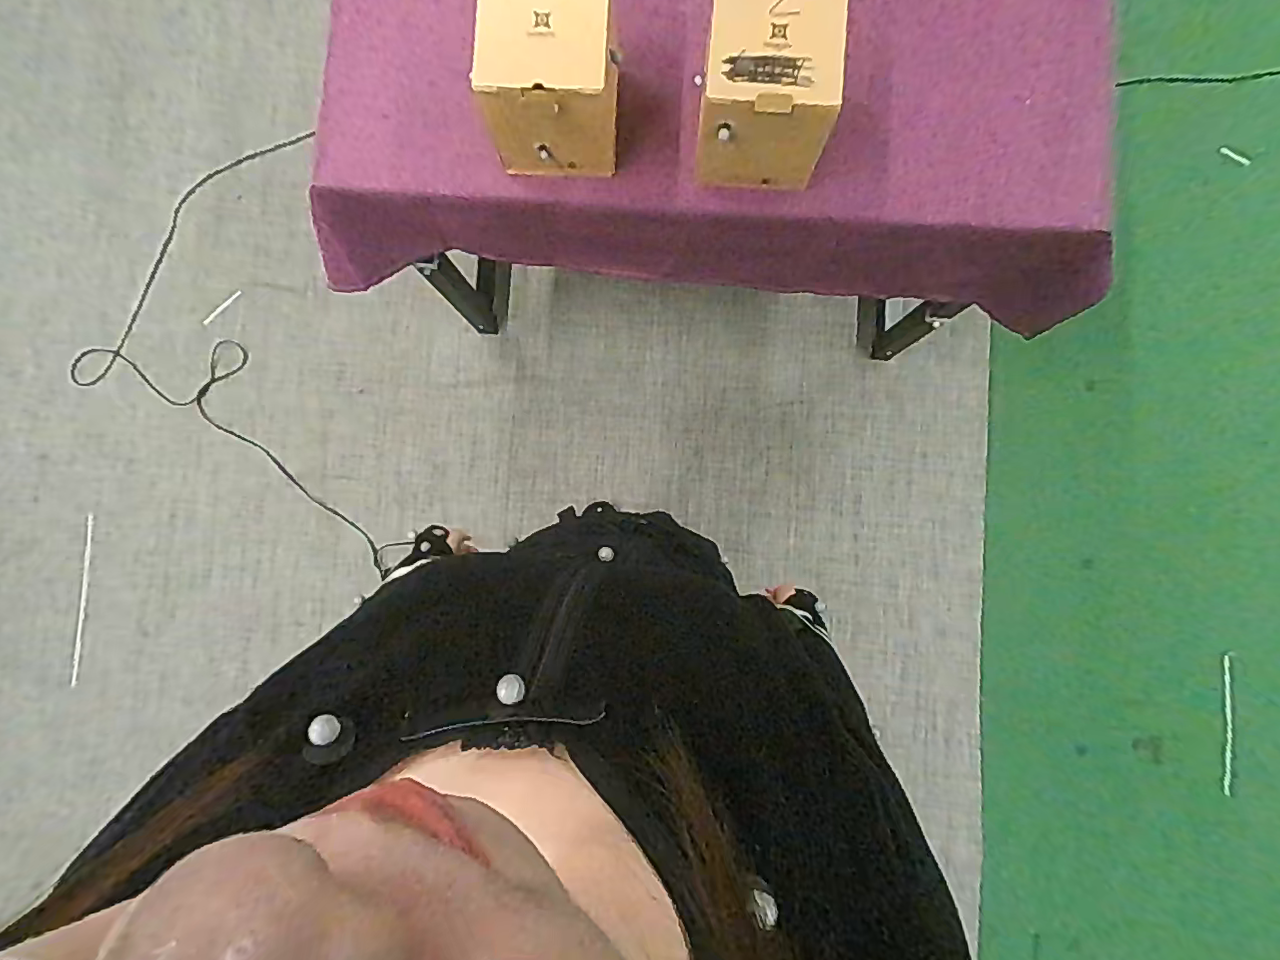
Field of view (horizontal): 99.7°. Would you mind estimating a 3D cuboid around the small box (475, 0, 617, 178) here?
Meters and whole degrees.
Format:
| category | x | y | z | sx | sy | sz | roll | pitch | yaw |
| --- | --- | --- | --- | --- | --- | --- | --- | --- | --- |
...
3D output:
| category | x | y | z | sx | sy | sz | roll | pitch | yaw |
| --- | --- | --- | --- | --- | --- | --- | --- | --- | --- |
| small box | -0.121 | -0.563 | 0.761 | 0.168 | 0.176 | 0.179 | 2 | 87 | 1 |
